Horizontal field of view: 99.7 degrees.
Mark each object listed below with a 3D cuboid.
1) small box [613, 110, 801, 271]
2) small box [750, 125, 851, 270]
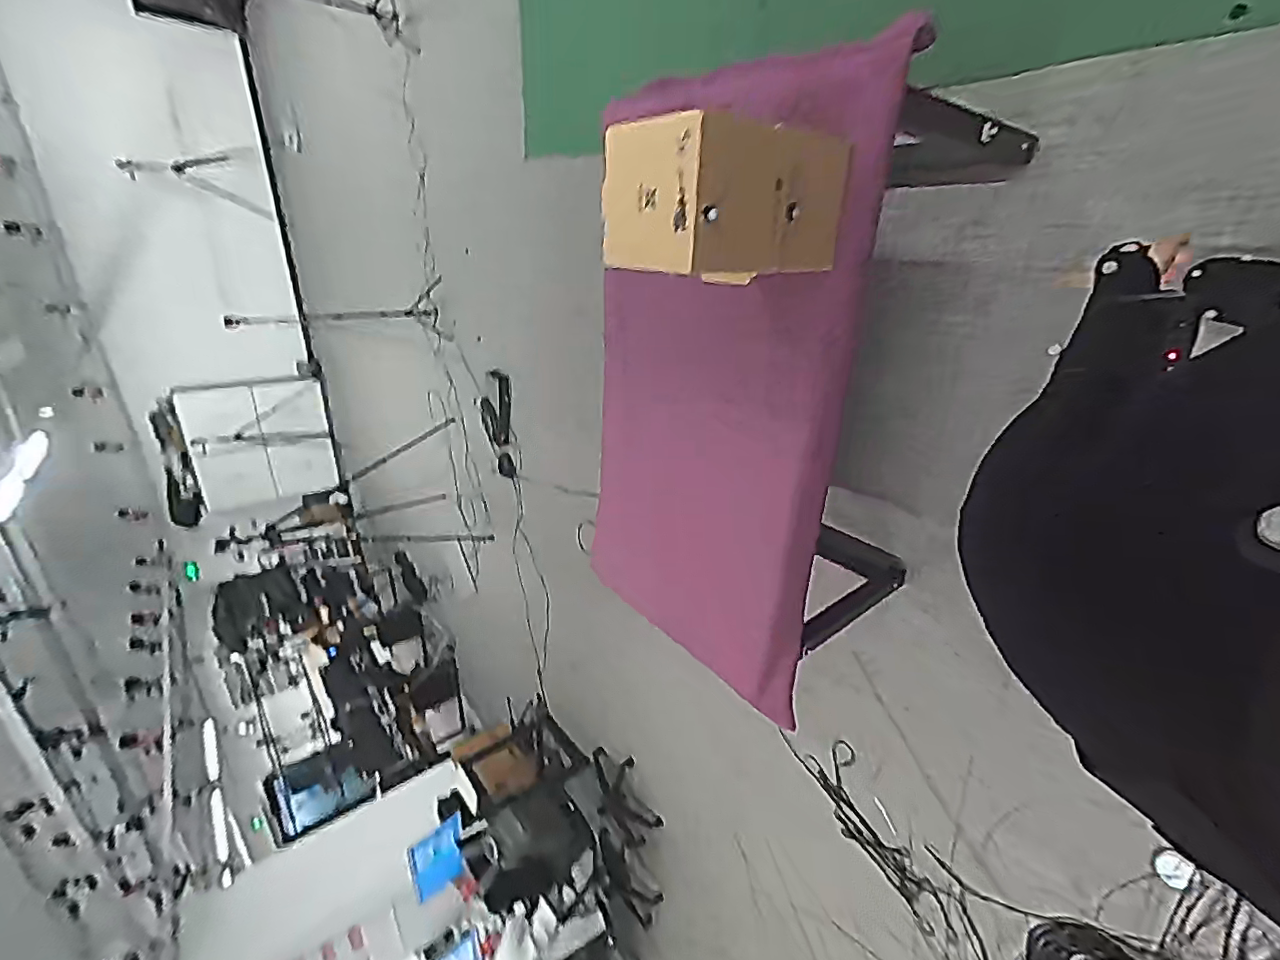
[{"bbox_3d":[0.081,-0.370,0.715,0.179,0.176,0.168,28,126,45],"label":"small box"},{"bbox_3d":[0.197,-0.417,0.823,0.168,0.176,0.179,25,123,46],"label":"small box"}]
